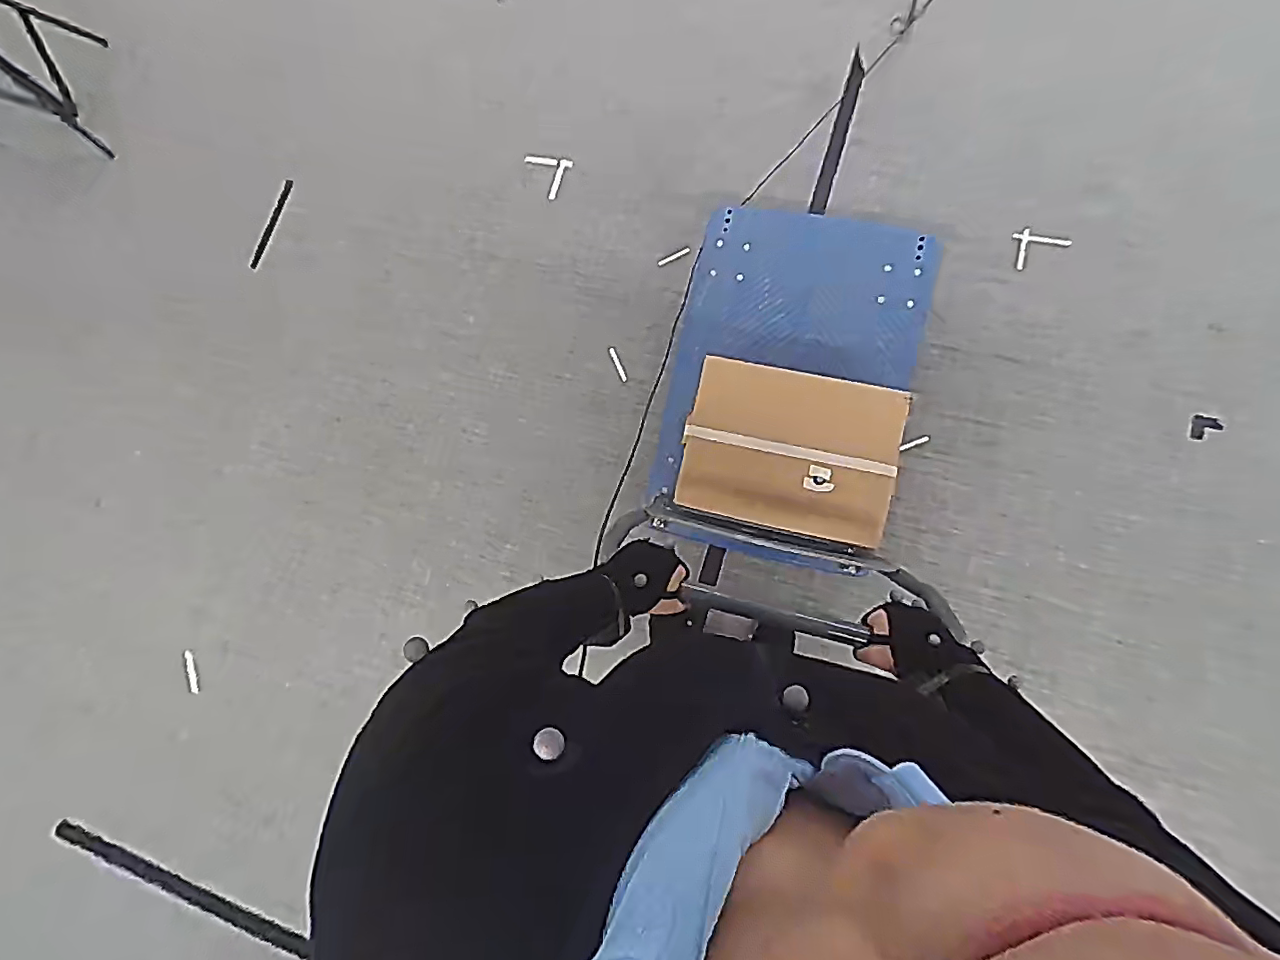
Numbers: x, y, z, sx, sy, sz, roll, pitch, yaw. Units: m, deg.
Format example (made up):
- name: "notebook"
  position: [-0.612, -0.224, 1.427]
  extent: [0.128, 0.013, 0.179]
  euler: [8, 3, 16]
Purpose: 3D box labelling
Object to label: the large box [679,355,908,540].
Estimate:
- name: "large box"
  position: [0.320, -0.063, 1.222]
  extent: [0.408, 0.320, 0.320]
  euler: [12, 90, 8]
